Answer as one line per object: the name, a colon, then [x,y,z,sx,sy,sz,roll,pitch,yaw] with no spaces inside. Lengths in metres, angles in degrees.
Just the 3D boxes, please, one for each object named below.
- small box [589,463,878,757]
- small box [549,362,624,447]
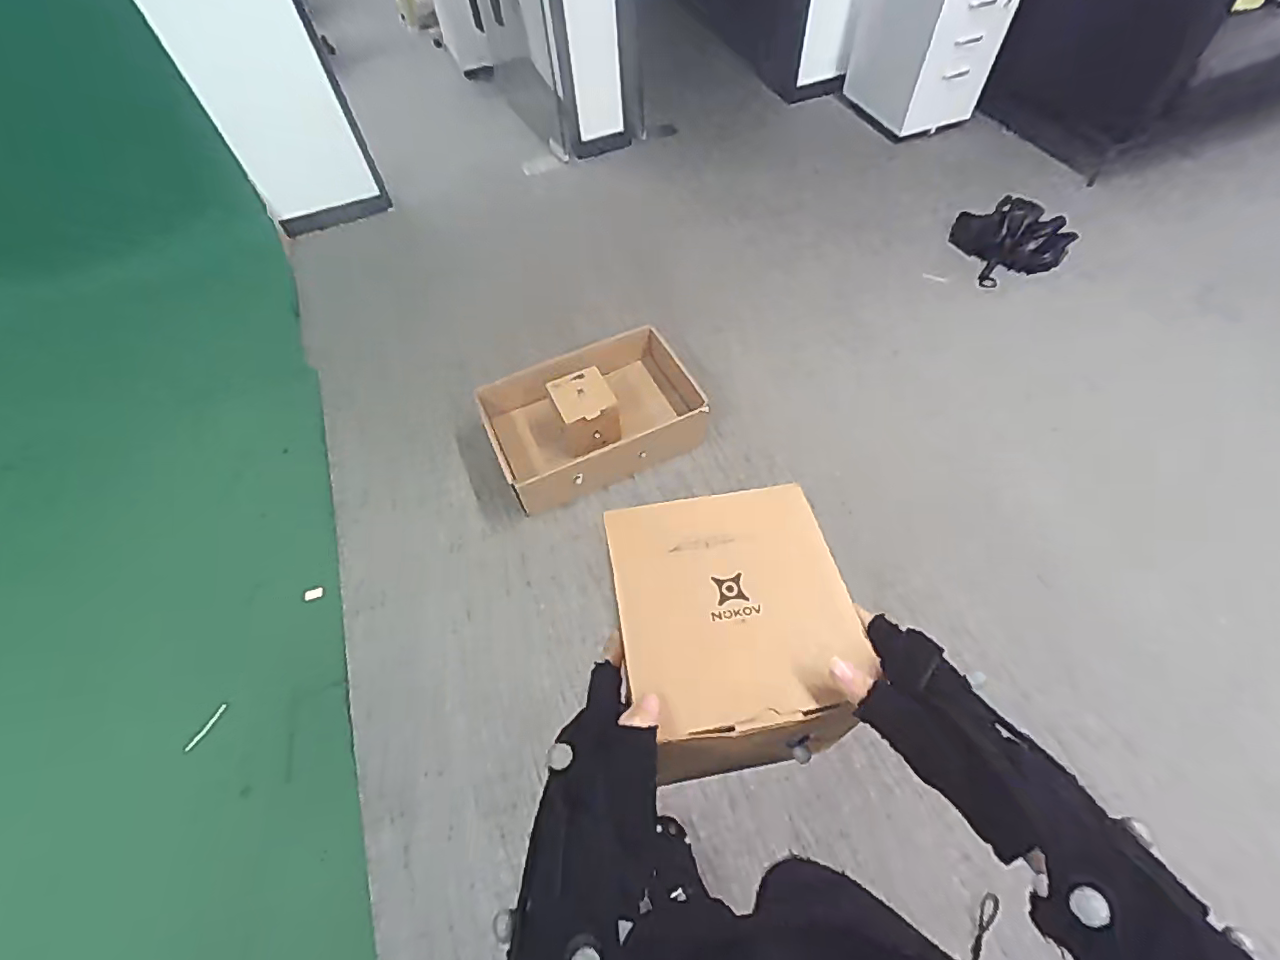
small box: [0.060,0.116,0.450,0.168,0.176,0.179,-12,56,-7]
small box: [-0.159,-0.222,1.655,0.168,0.176,0.179,-23,60,-10]
